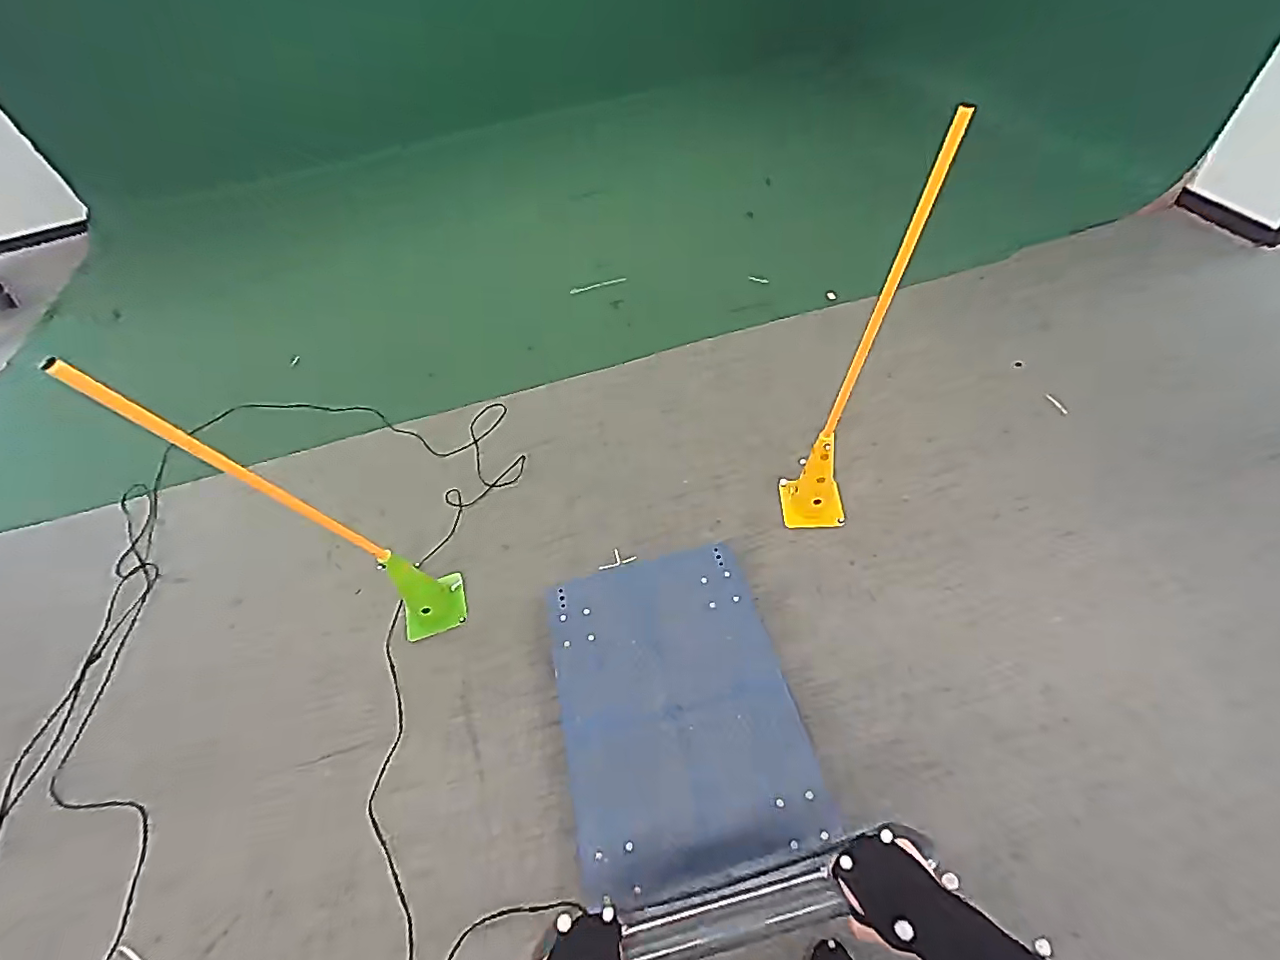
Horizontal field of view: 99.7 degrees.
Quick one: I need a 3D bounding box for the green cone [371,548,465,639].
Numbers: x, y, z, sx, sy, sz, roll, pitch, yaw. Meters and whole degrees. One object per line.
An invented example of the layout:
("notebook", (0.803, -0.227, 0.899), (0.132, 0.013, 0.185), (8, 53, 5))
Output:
("green cone", (-0.713, 0.309, 1.670), (0.202, 0.368, 0.200), (-20, 52, -5))
